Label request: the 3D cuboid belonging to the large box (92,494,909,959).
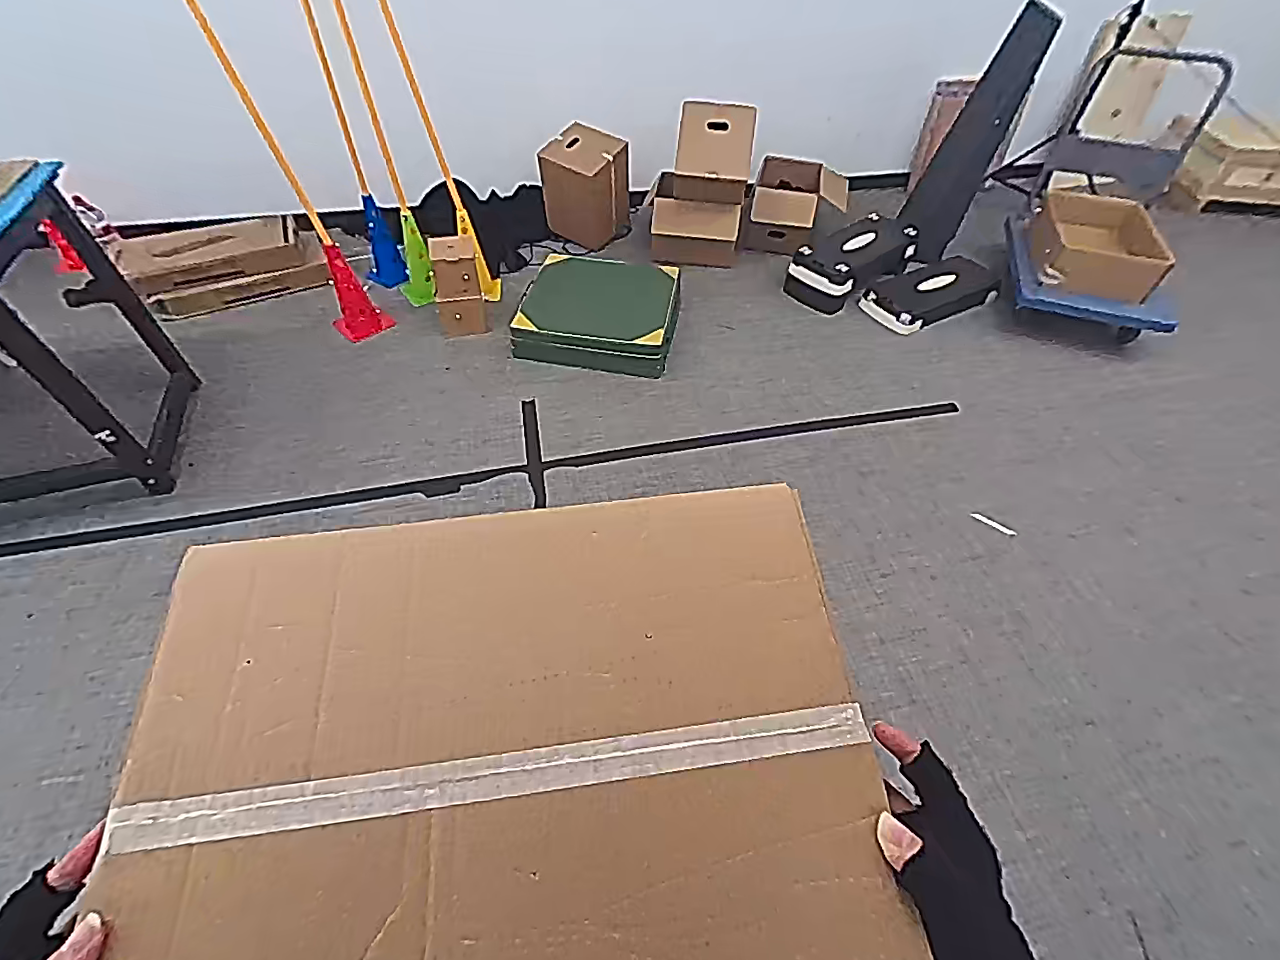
[{"bbox_3d":[-0.077,0.234,0.438,0.408,0.320,0.320,-6,61,-4],"label":"large box"}]
